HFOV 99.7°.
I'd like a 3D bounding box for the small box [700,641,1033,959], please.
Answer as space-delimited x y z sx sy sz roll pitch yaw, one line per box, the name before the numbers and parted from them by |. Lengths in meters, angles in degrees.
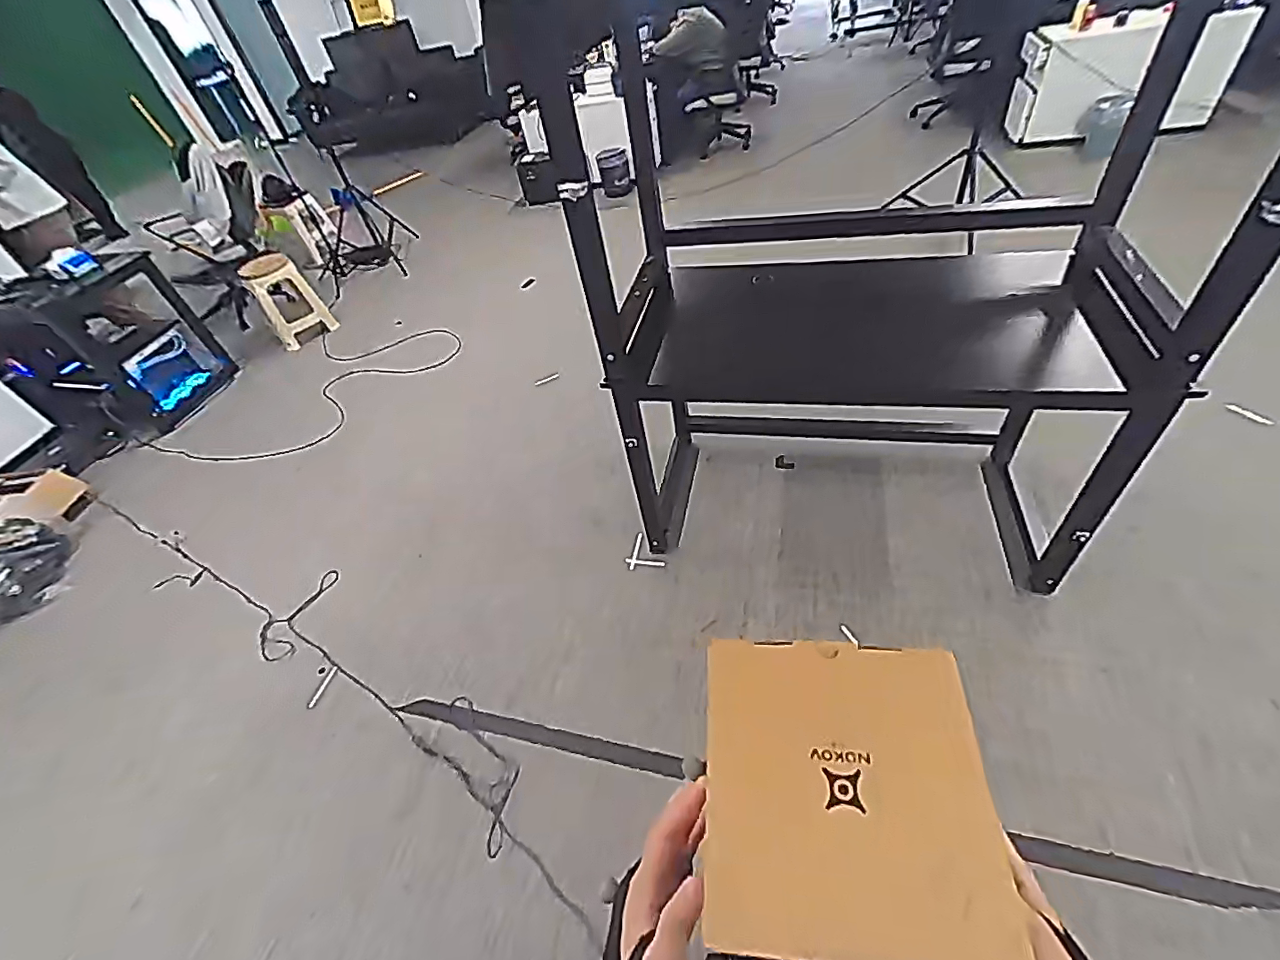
small box | 0.132 0.235 0.386 0.168 0.176 0.179 0 48 9
